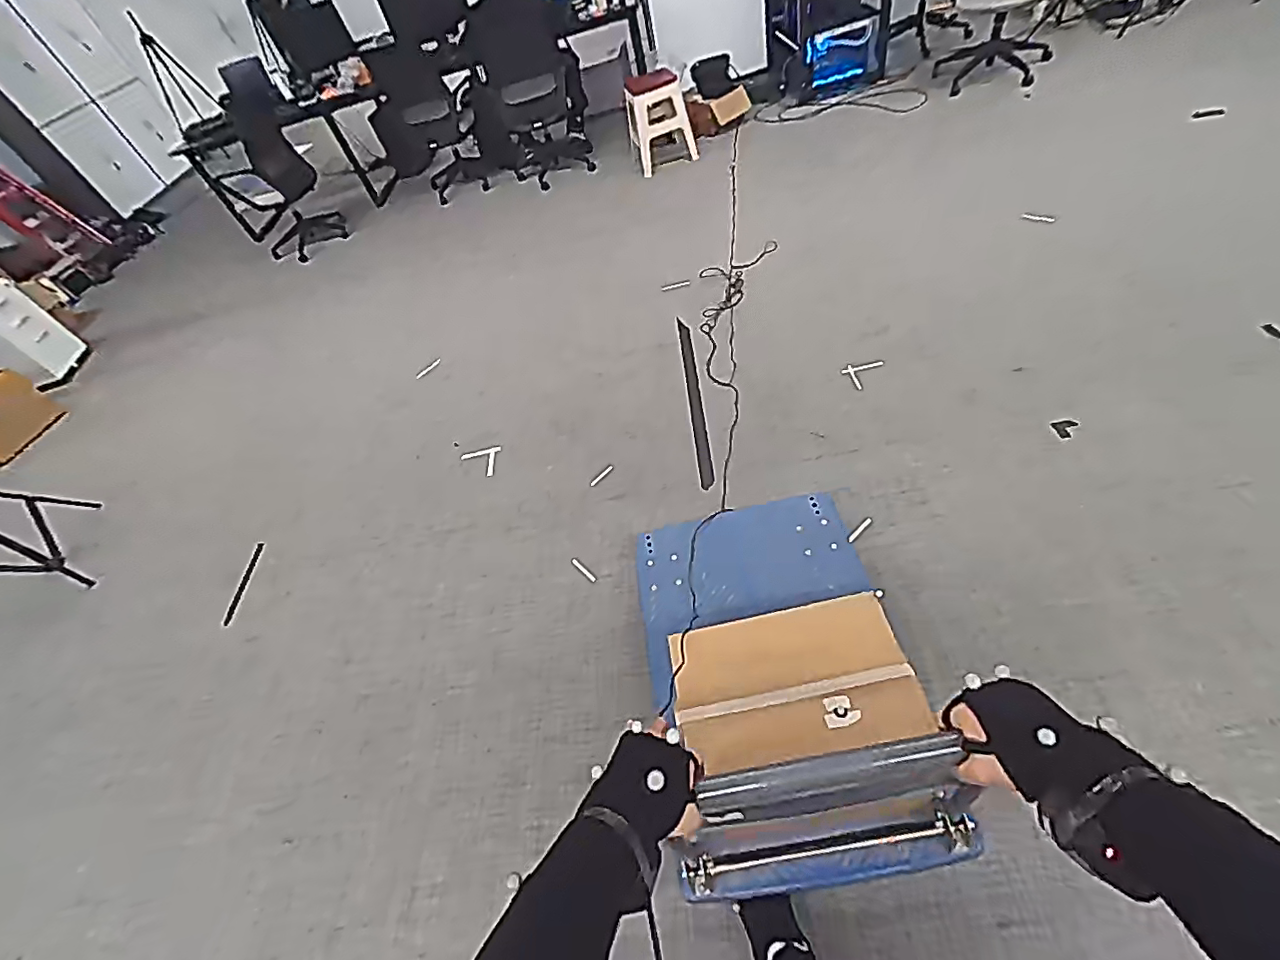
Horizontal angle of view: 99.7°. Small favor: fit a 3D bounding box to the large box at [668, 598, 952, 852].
[{"bbox_3d":[0.295,0.476,1.036,0.408,0.320,0.320,-14,48,5],"label":"large box"}]
